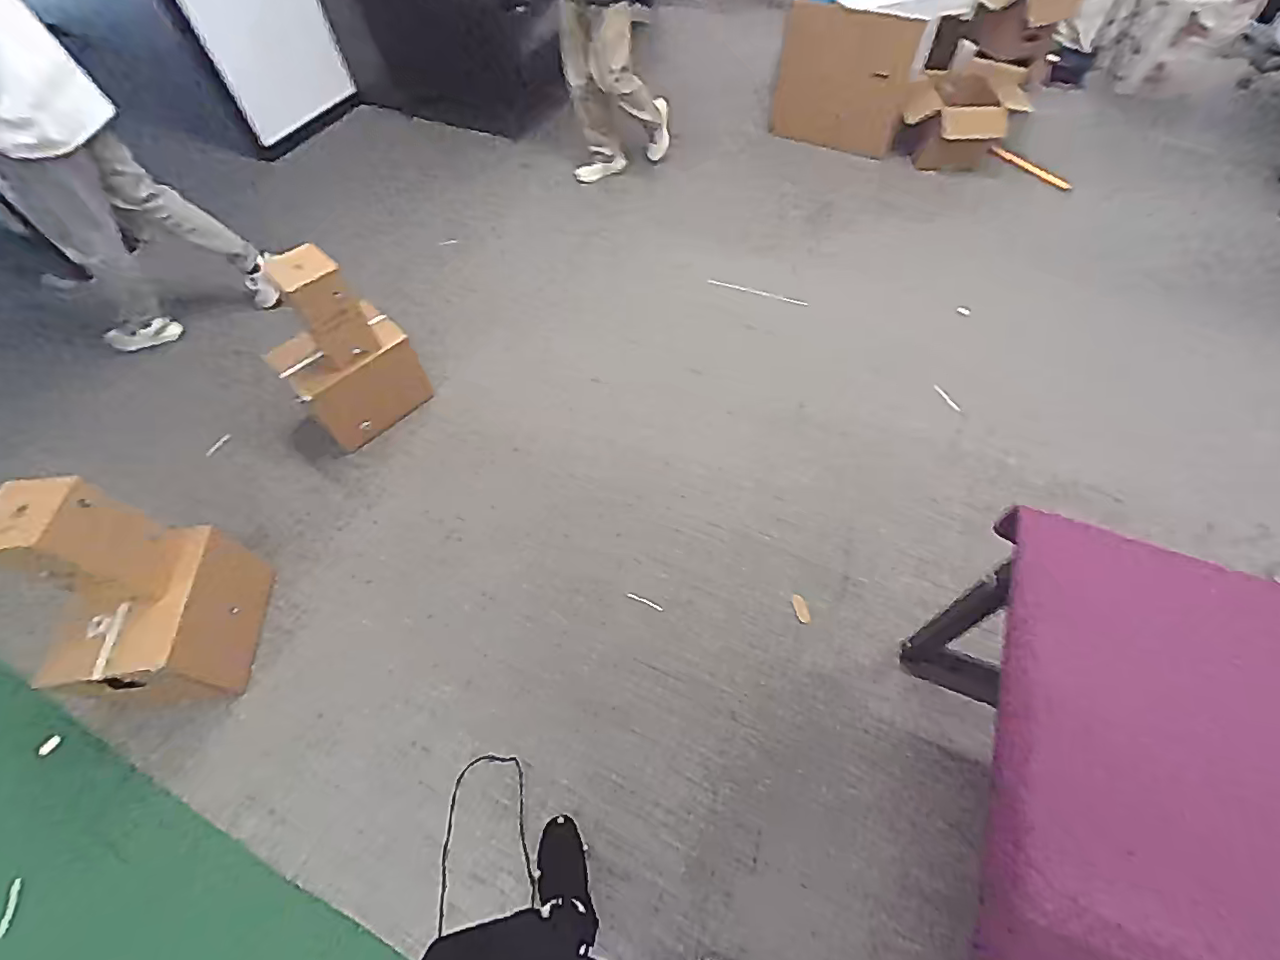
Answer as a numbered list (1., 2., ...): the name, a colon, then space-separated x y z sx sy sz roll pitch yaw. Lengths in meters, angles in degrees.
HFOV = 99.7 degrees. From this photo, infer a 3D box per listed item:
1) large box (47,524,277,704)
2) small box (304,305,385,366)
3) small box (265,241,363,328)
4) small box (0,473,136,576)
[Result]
1. large box: -1.313 0.386 1.545 0.320 0.320 0.408 -8 59 -1
2. small box: -1.001 -0.517 1.818 0.168 0.176 0.179 -40 66 -21
3. small box: -1.002 -0.598 1.677 0.179 0.176 0.168 39 66 23
4. small box: -1.324 0.104 1.237 0.168 0.176 0.179 -4 57 0
